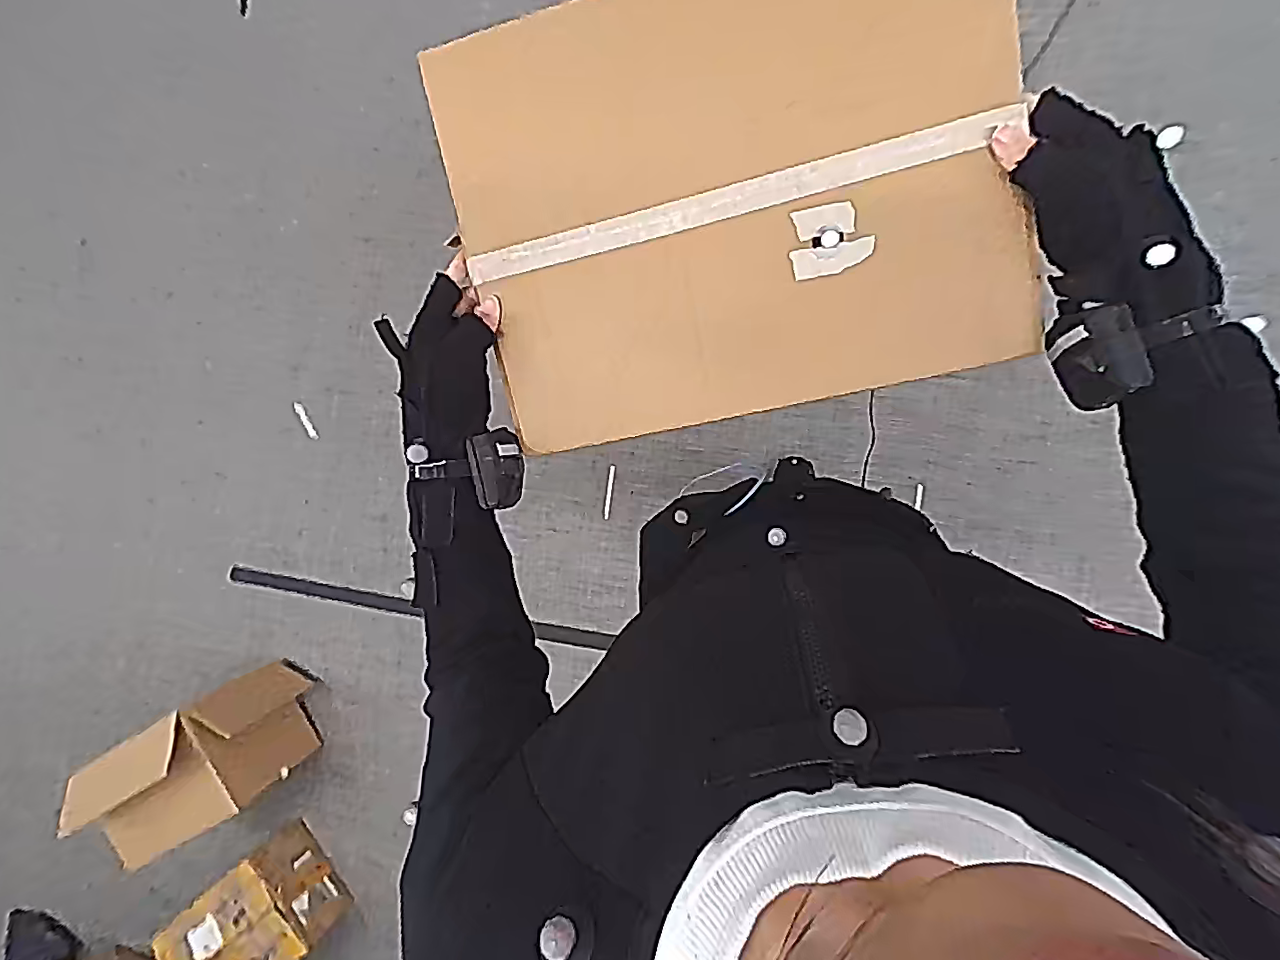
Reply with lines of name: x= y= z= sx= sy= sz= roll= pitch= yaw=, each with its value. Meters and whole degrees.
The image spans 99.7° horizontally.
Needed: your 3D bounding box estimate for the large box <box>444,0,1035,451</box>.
large box: x=0.088 y=-0.240 z=0.554 sx=0.408 sy=0.320 sz=0.320 roll=-11 pitch=101 yaw=9
